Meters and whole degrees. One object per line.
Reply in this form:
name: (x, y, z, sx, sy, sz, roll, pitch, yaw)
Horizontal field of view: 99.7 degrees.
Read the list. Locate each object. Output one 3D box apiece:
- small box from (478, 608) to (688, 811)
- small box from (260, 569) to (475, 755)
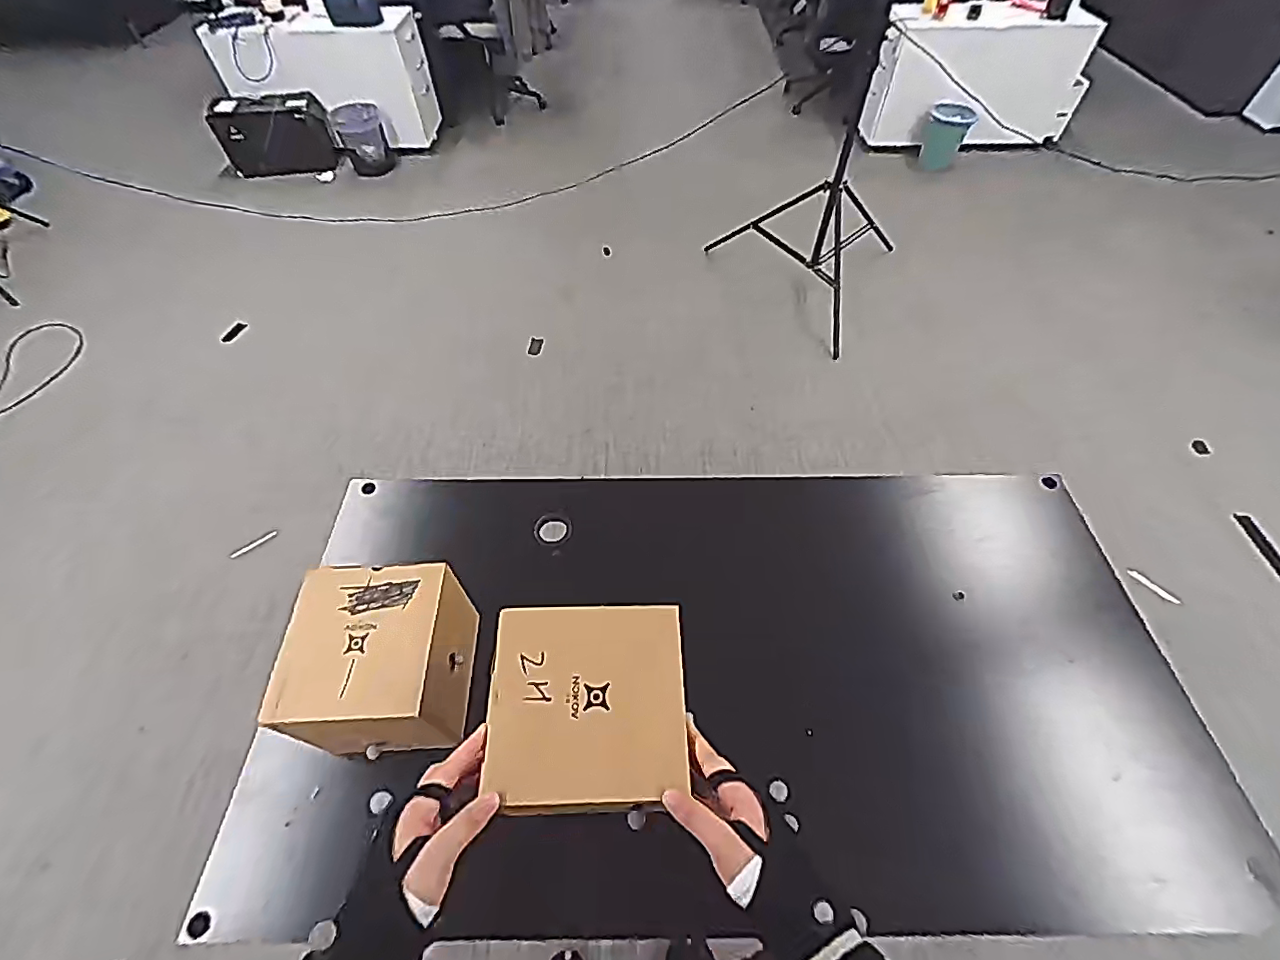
small box: (-0.051, 0.239, 0.556, 0.179, 0.176, 0.168, -1, 56, -2)
small box: (-0.311, 0.226, 0.665, 0.168, 0.176, 0.179, -2, 55, -1)
